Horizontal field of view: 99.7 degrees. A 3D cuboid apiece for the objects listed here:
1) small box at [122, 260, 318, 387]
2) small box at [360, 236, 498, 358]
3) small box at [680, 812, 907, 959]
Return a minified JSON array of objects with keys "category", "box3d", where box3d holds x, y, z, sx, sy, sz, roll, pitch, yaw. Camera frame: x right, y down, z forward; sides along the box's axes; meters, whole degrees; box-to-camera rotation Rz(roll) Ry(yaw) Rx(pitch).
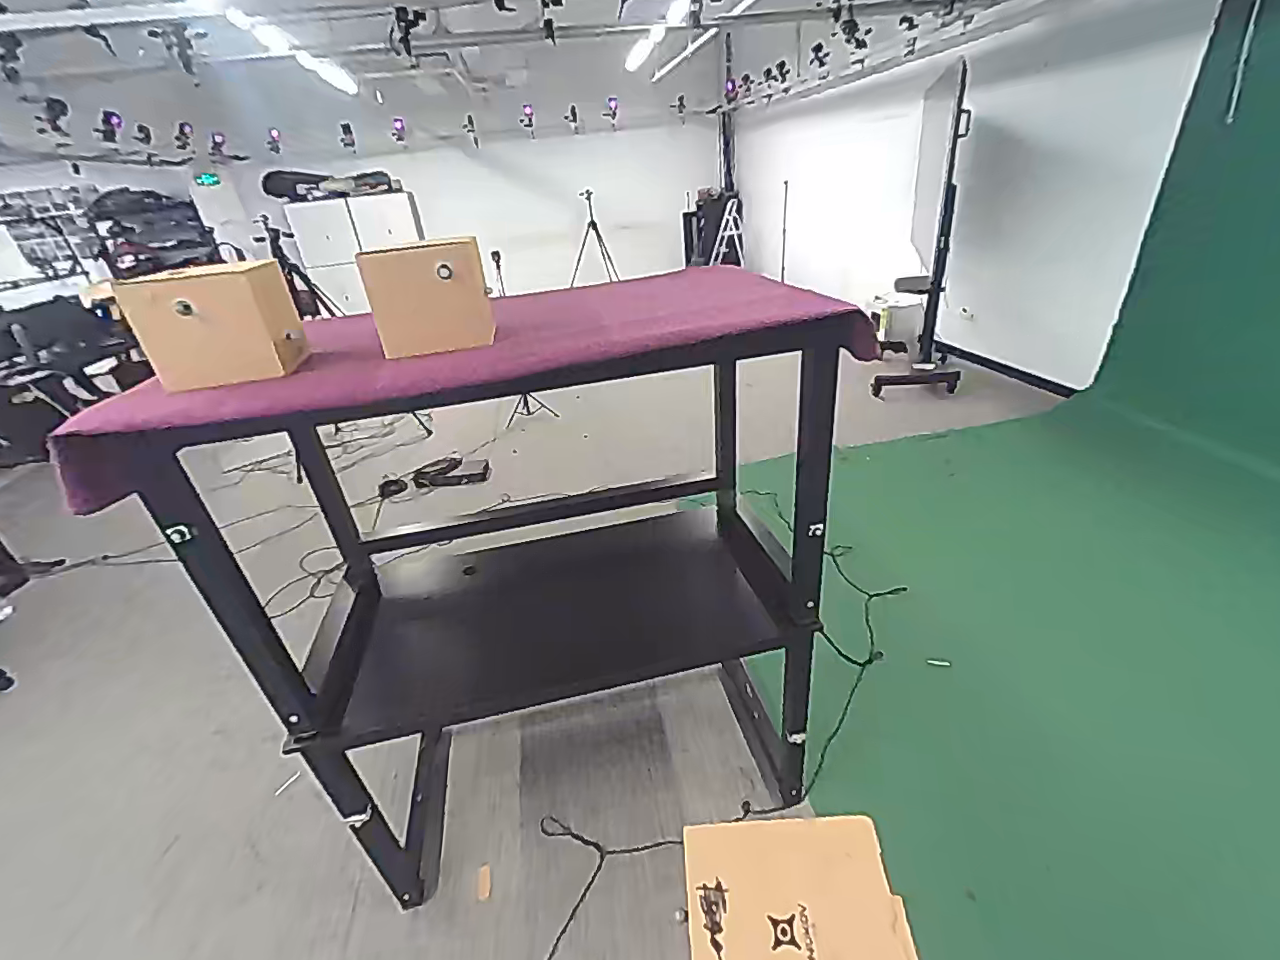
[{"category":"small box","box3d":[-0.676,-0.261,0.897,0.179,0.176,0.168,-11,29,-11]},{"category":"small box","box3d":[-0.354,-0.323,0.950,0.179,0.176,0.168,-10,28,-7]},{"category":"small box","box3d":[0.131,0.424,0.495,0.179,0.176,0.168,-6,41,6]}]
